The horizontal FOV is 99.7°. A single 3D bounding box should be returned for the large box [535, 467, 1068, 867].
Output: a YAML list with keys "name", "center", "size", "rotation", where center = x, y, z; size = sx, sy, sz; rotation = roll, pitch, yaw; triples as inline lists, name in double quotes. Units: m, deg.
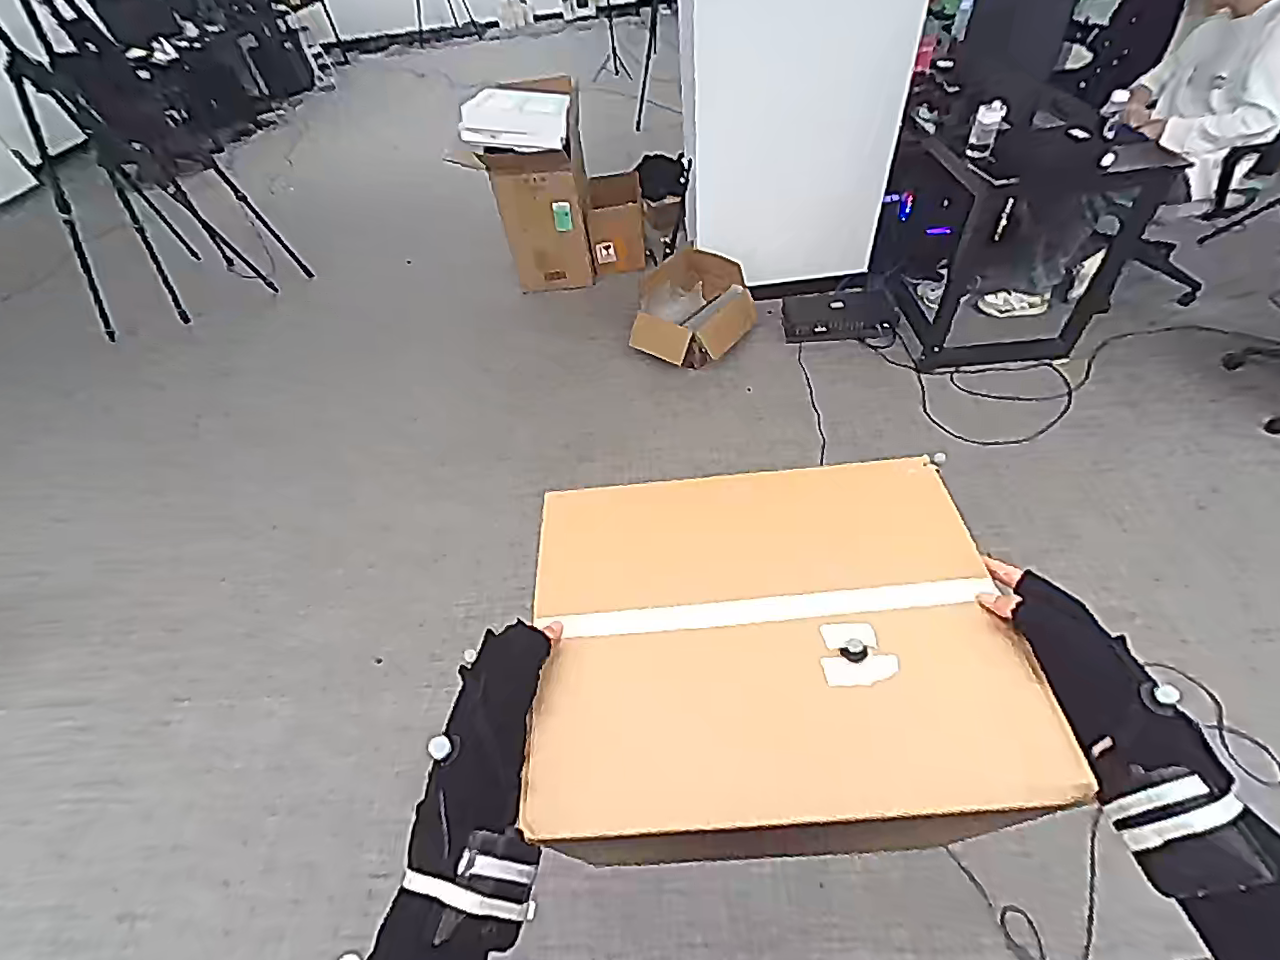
- name: "large box"
  center: [0.120, 0.218, 0.605]
  size: [0.408, 0.320, 0.320]
  rotation: [-6, 51, 2]
